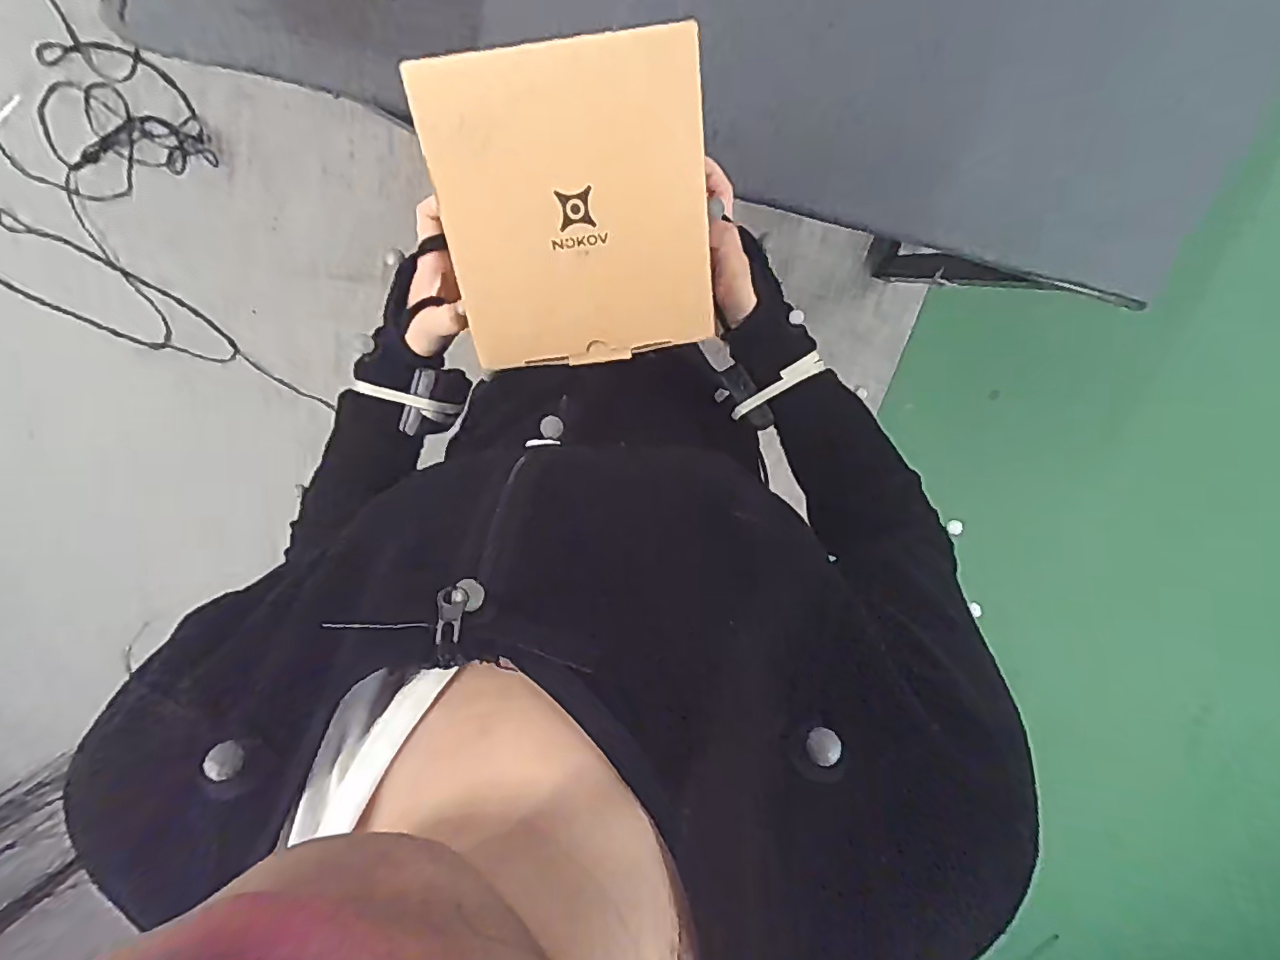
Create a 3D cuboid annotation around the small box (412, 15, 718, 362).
[{"bbox_3d":[-0.042,-0.204,0.402,0.168,0.176,0.179,-8,120,0],"label":"small box"}]
